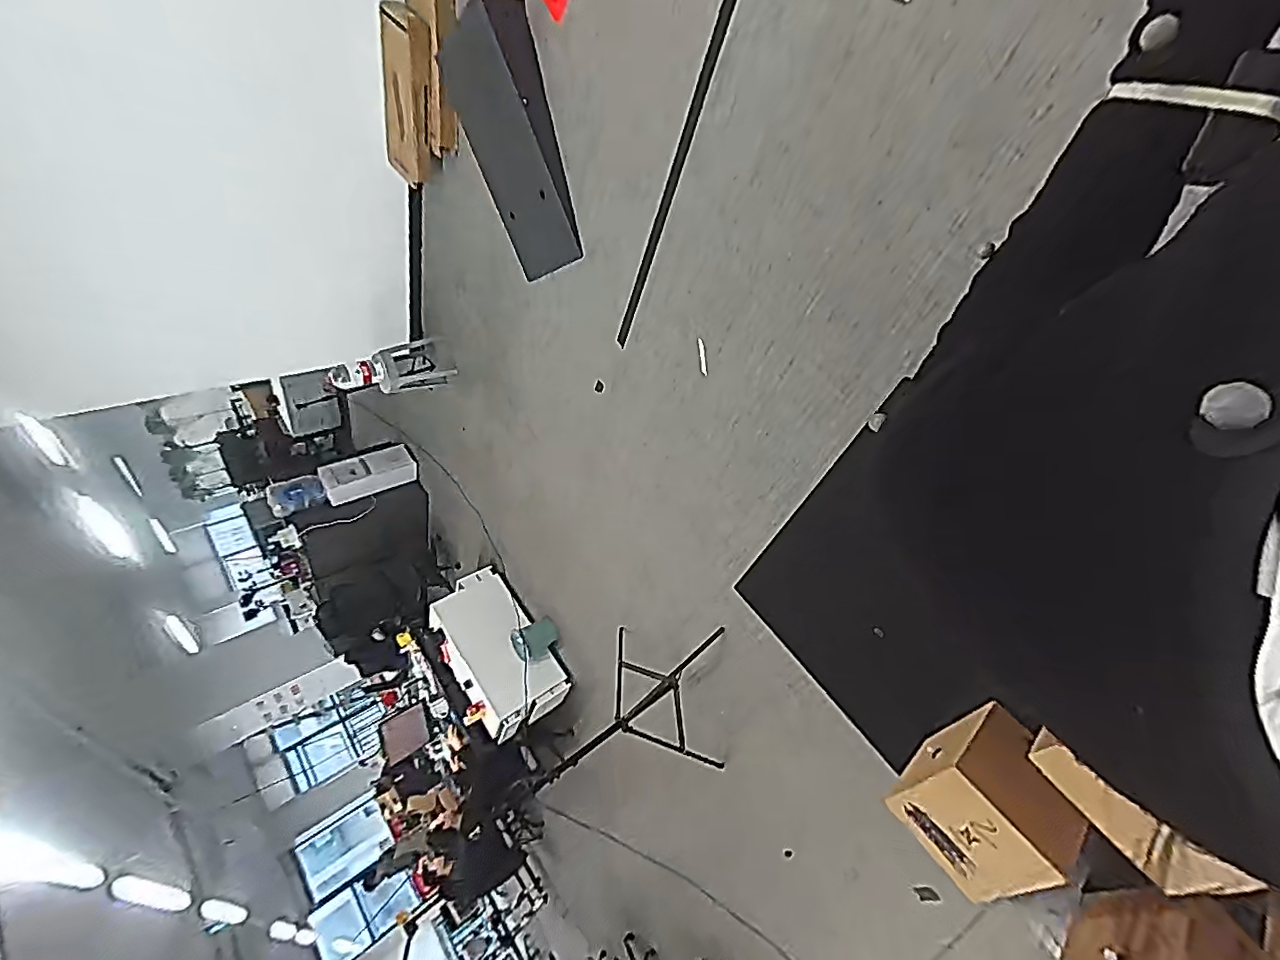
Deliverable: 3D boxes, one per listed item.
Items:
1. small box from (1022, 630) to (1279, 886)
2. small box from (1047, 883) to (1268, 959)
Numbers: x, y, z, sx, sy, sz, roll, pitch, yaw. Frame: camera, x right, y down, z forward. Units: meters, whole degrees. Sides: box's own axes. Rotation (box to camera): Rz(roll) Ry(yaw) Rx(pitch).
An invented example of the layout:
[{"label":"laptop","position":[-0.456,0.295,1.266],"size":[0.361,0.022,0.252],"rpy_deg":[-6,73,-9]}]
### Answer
[{"label":"small box","position":[0.597,0.307,0.613],"size":[0.179,0.176,0.168],"rpy_deg":[49,140,24]},{"label":"small box","position":[0.684,0.660,0.695],"size":[0.168,0.176,0.179],"rpy_deg":[50,140,22]}]
